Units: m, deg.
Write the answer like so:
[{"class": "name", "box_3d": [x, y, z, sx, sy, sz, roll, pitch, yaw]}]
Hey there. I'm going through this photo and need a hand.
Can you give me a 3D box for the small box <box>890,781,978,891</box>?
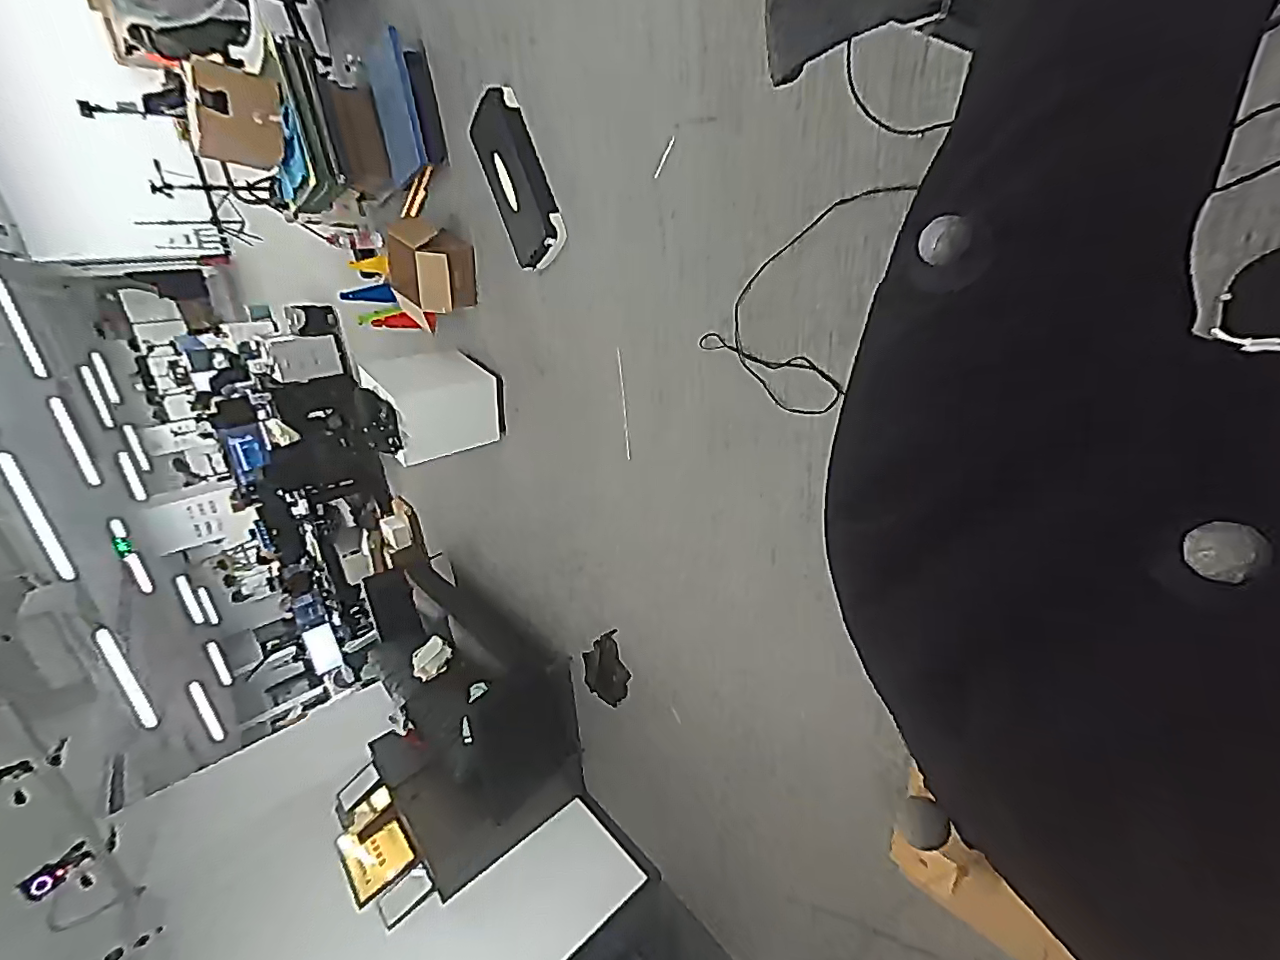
[{"class": "small box", "box_3d": [0.870, 1.042, 1.600, 0.179, 0.176, 0.168, 21, 124, 47]}]
